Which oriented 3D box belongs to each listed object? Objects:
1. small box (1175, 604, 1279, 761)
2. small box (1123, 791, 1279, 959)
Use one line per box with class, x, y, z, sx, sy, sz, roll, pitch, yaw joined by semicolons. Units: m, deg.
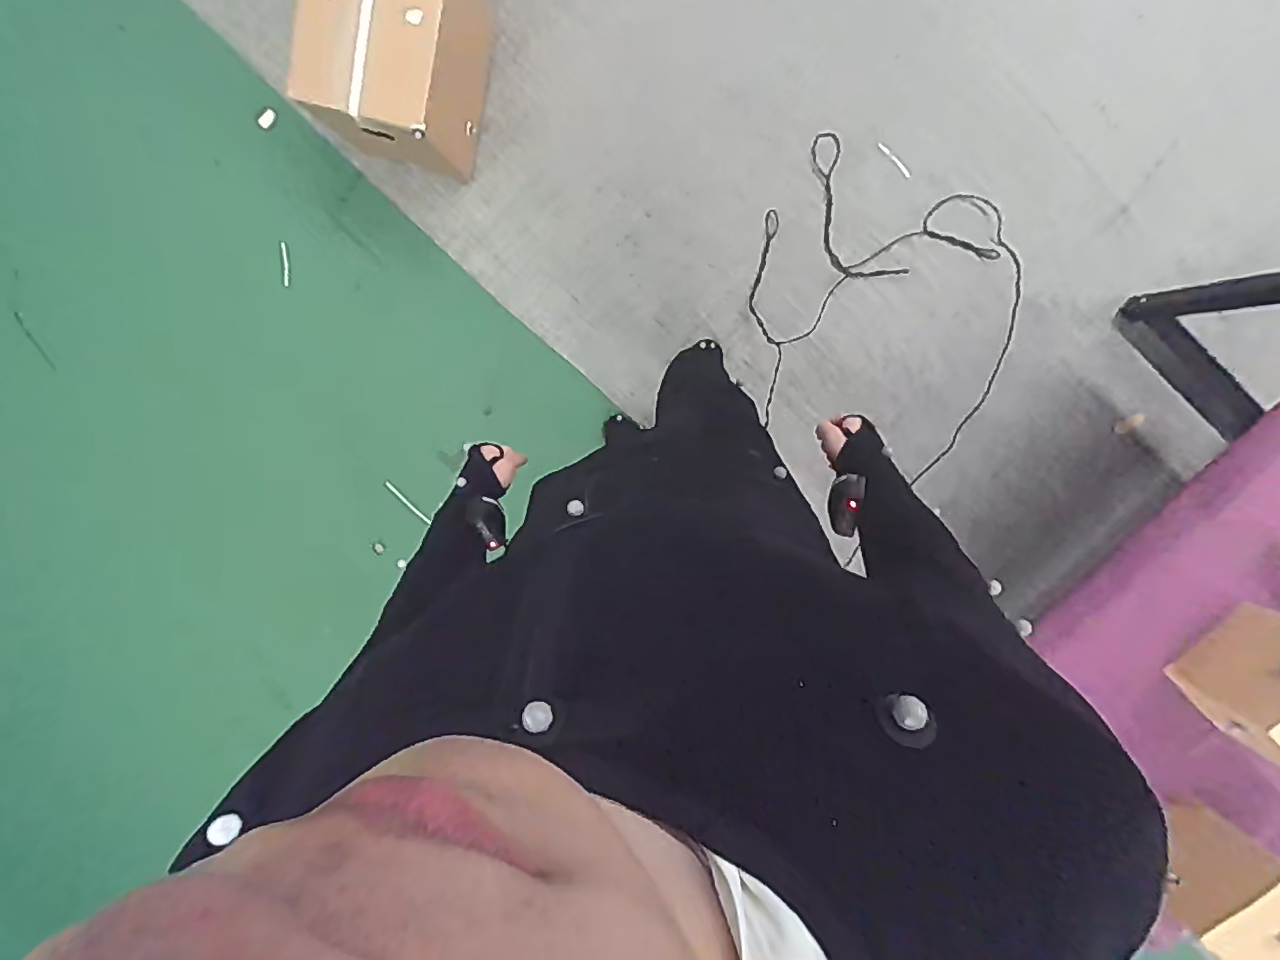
small box;1.004;0.330;0.841;0.168;0.176;0.179;43;98;-6
small box;0.976;0.679;0.906;0.168;0.176;0.179;44;98;-5
